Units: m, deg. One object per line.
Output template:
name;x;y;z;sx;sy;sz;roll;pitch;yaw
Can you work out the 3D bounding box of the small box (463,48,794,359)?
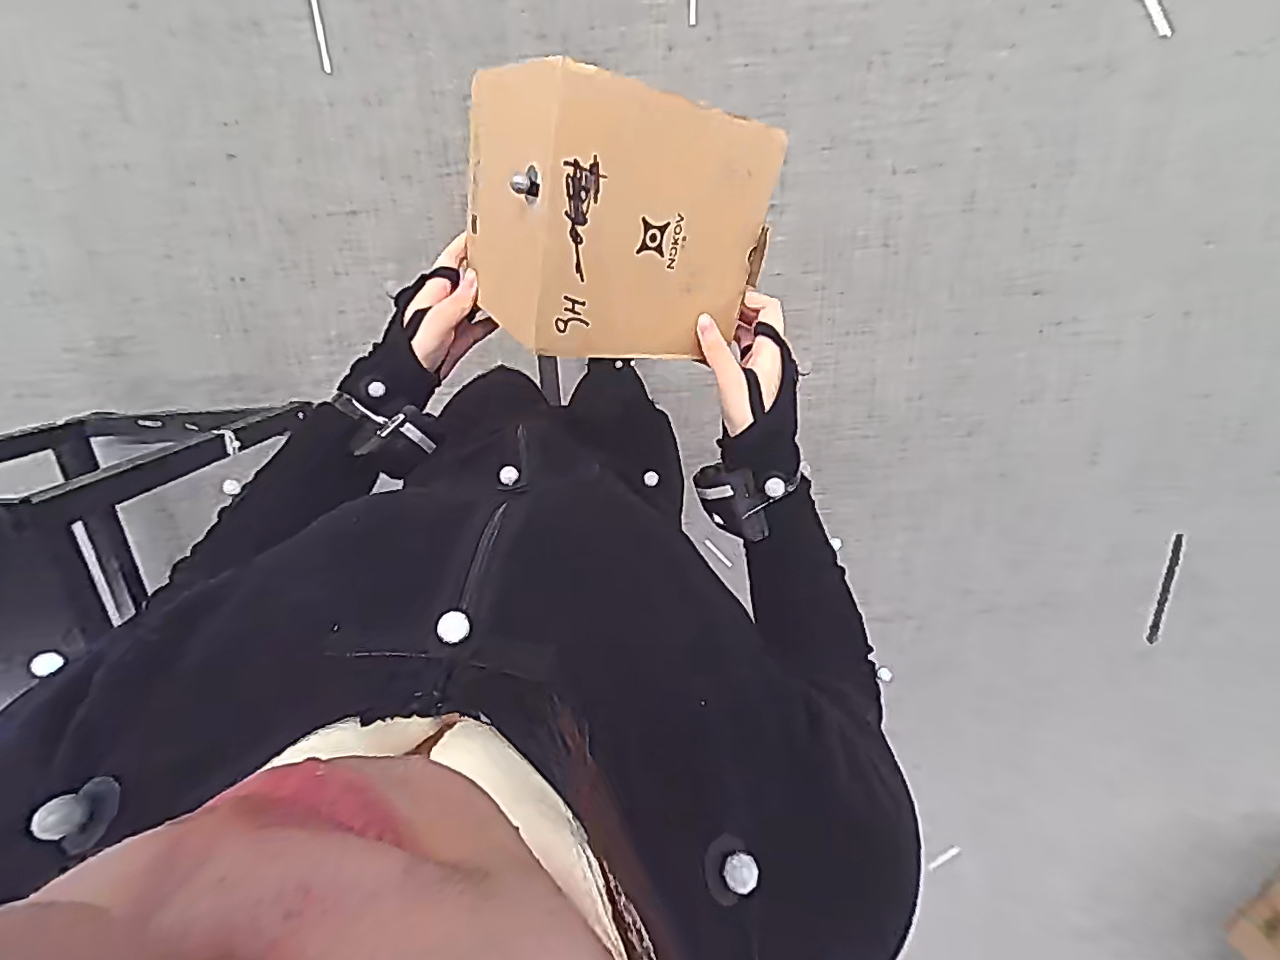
small box;-0.022;-0.201;0.418;0.179;0.176;0.168;-6;122;-33
